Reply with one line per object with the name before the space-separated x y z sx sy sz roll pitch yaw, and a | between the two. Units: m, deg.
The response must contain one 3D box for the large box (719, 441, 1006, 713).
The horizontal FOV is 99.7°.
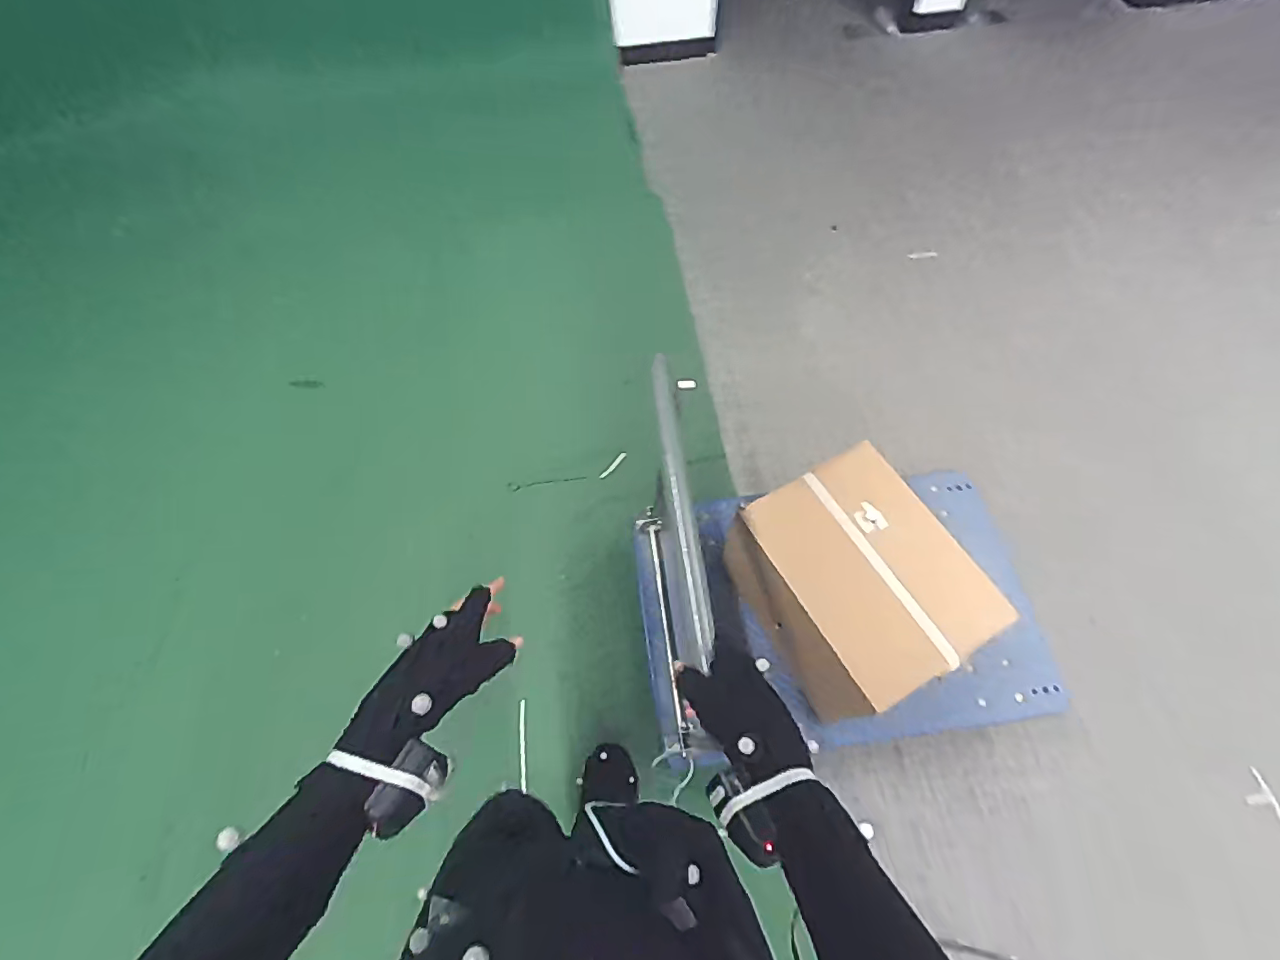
large box | 0.408 0.206 1.108 0.320 0.320 0.408 -28 66 -12
